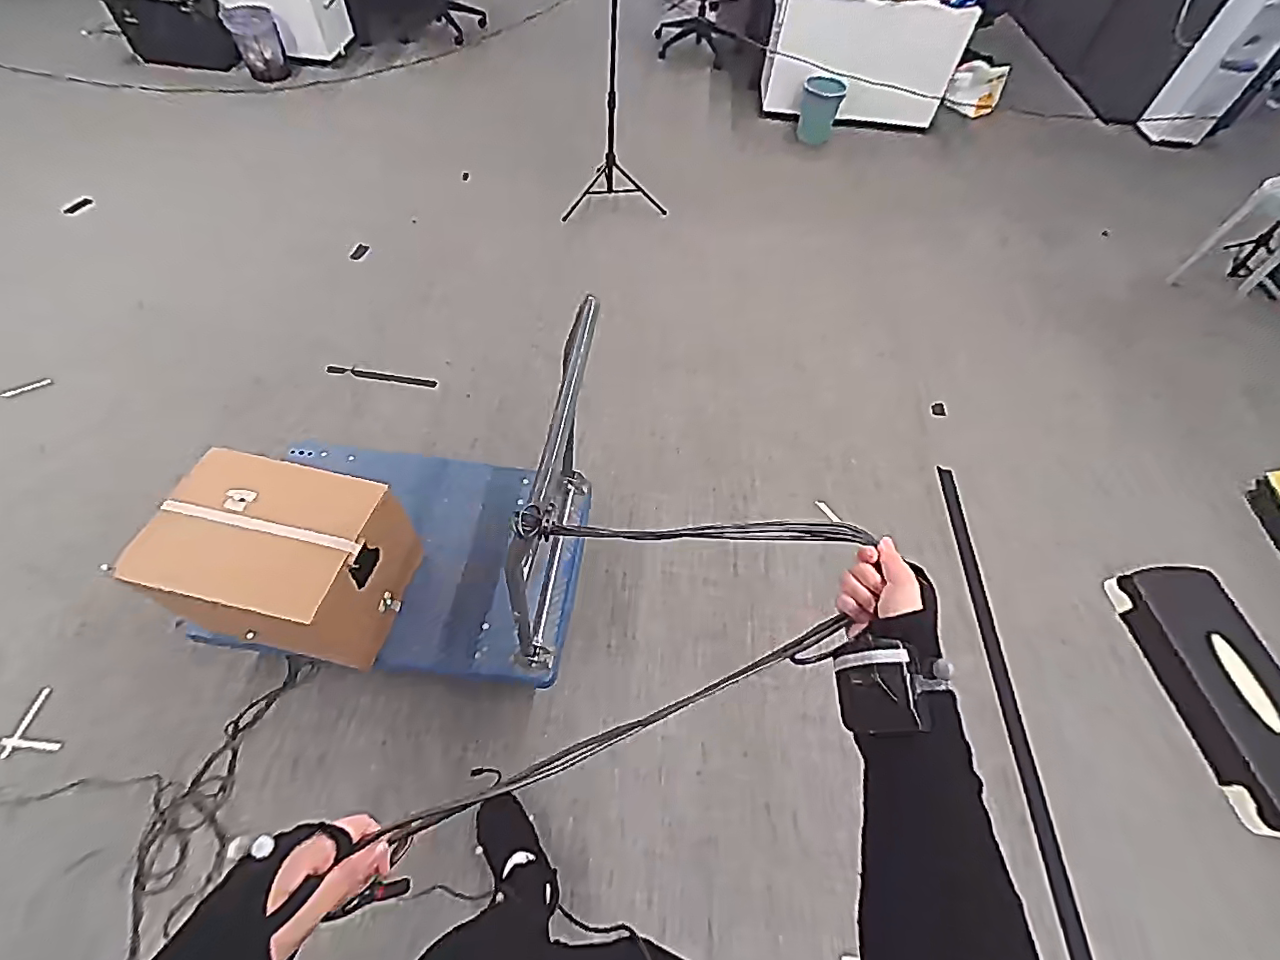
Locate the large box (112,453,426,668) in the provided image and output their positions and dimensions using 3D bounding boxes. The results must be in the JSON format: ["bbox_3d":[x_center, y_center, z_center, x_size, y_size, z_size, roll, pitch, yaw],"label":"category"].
[{"bbox_3d":[-0.754,0.185,1.184,0.408,0.320,0.320,12,55,4],"label":"large box"}]
